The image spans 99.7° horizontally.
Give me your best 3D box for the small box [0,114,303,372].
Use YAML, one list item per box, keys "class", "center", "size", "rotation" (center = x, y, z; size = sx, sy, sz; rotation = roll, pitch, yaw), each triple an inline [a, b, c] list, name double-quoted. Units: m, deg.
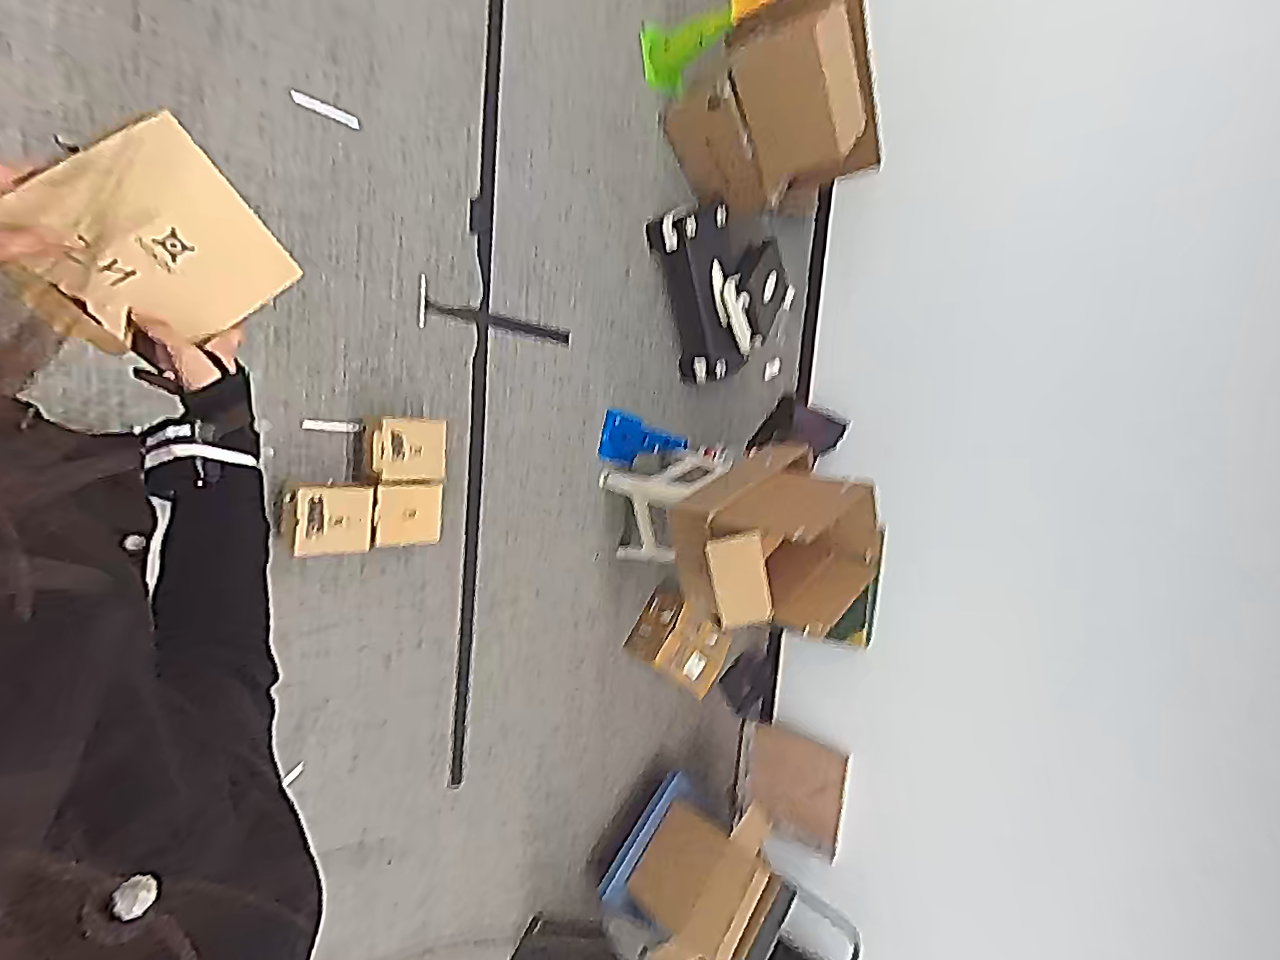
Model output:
- class: "small box"
  center: [-0.504, -0.243, 0.552]
  size: [0.179, 0.176, 0.168]
  rotation: [-51, 142, -20]
